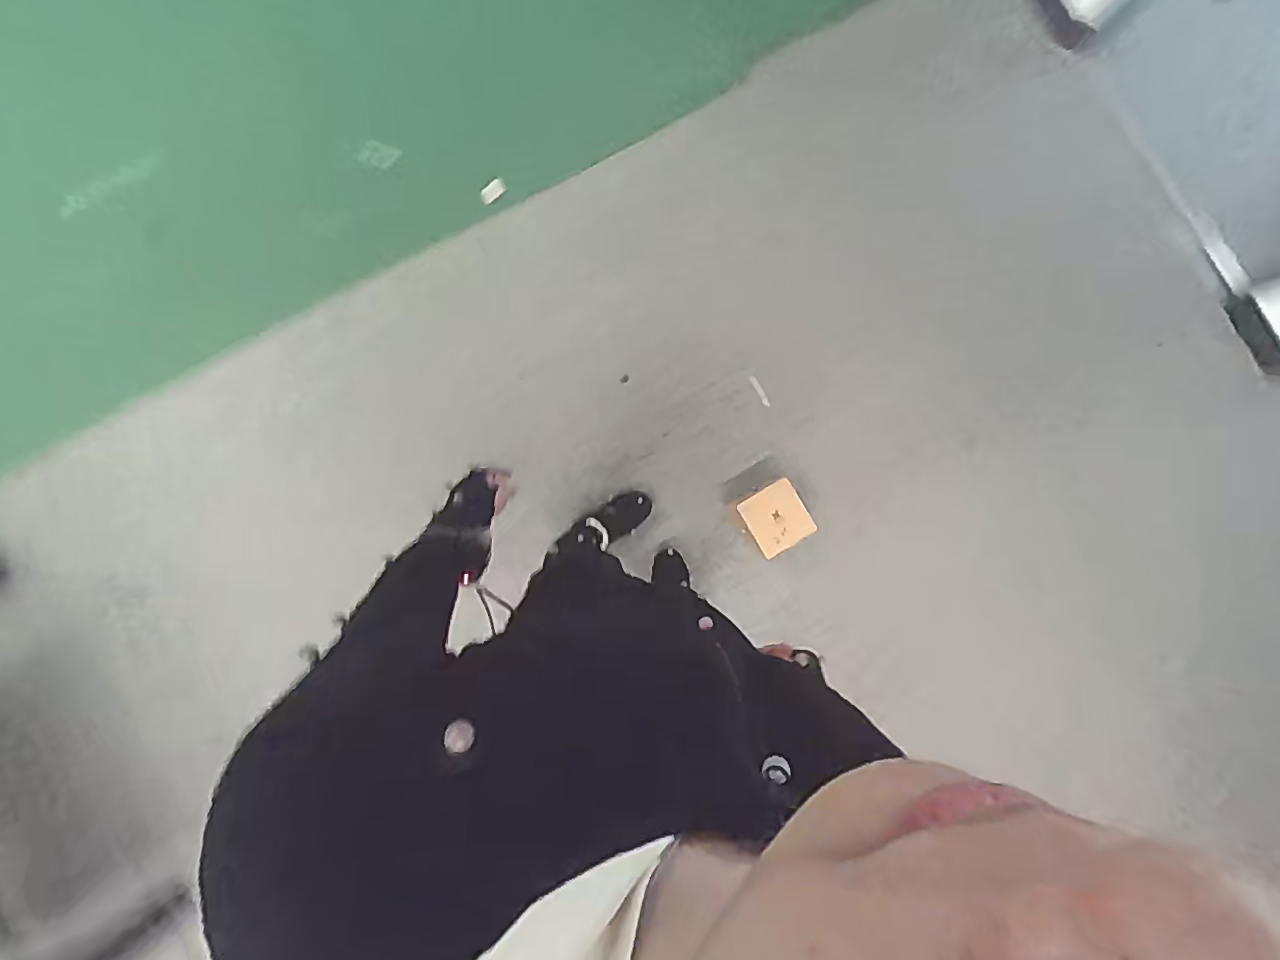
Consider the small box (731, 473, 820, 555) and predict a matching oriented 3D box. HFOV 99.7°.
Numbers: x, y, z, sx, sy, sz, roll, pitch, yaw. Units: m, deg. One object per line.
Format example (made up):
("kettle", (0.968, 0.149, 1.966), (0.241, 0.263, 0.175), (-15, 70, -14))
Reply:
("small box", (0.381, 0.097, 1.554), (0.168, 0.176, 0.179), (-29, 89, -2))
